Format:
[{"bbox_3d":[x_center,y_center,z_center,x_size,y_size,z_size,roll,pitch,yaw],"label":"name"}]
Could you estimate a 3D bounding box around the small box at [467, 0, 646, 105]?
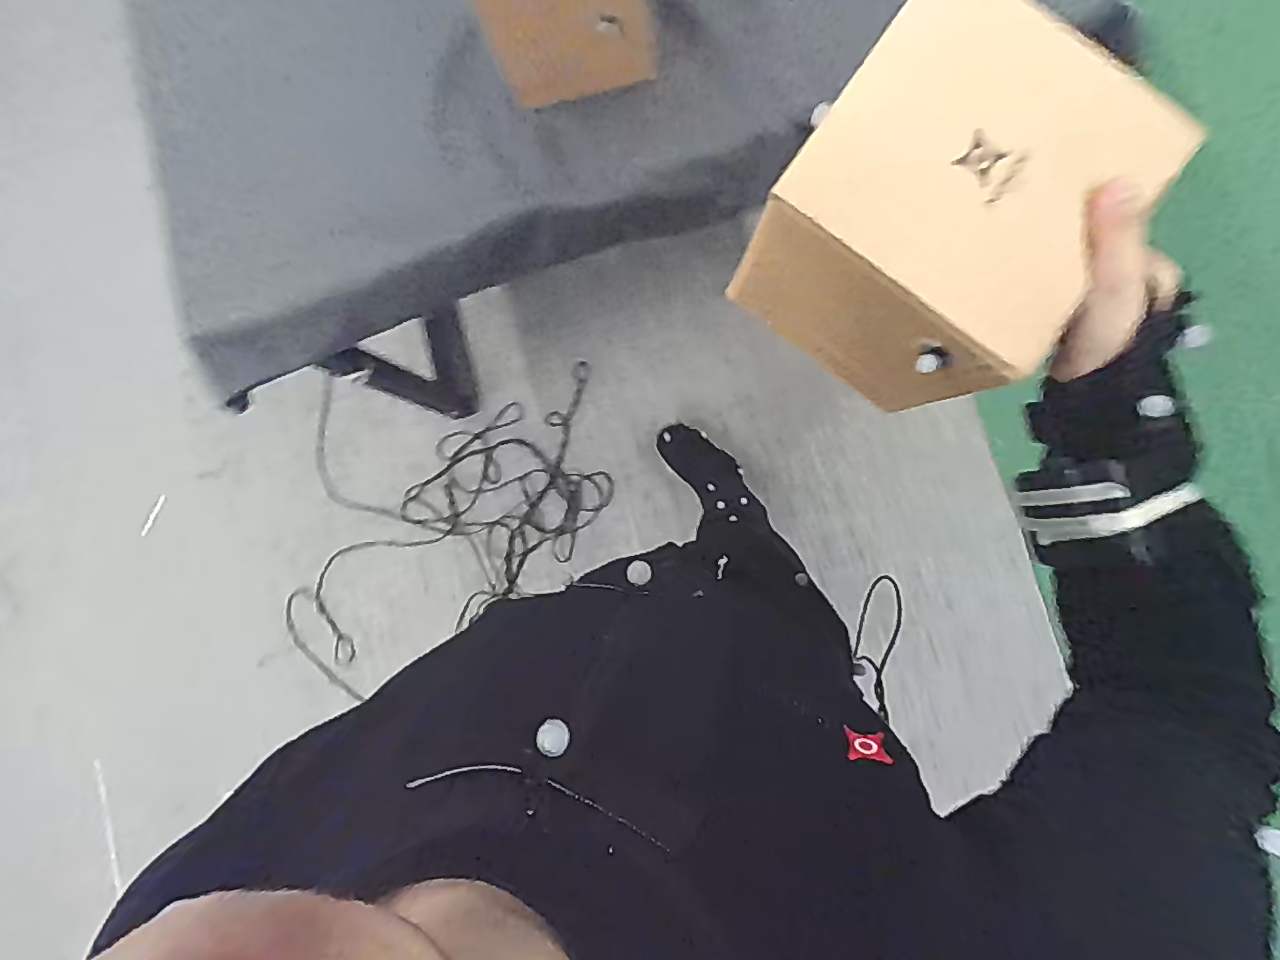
[{"bbox_3d":[-0.092,-0.570,0.605,0.179,0.176,0.168,-9,83,8],"label":"small box"}]
